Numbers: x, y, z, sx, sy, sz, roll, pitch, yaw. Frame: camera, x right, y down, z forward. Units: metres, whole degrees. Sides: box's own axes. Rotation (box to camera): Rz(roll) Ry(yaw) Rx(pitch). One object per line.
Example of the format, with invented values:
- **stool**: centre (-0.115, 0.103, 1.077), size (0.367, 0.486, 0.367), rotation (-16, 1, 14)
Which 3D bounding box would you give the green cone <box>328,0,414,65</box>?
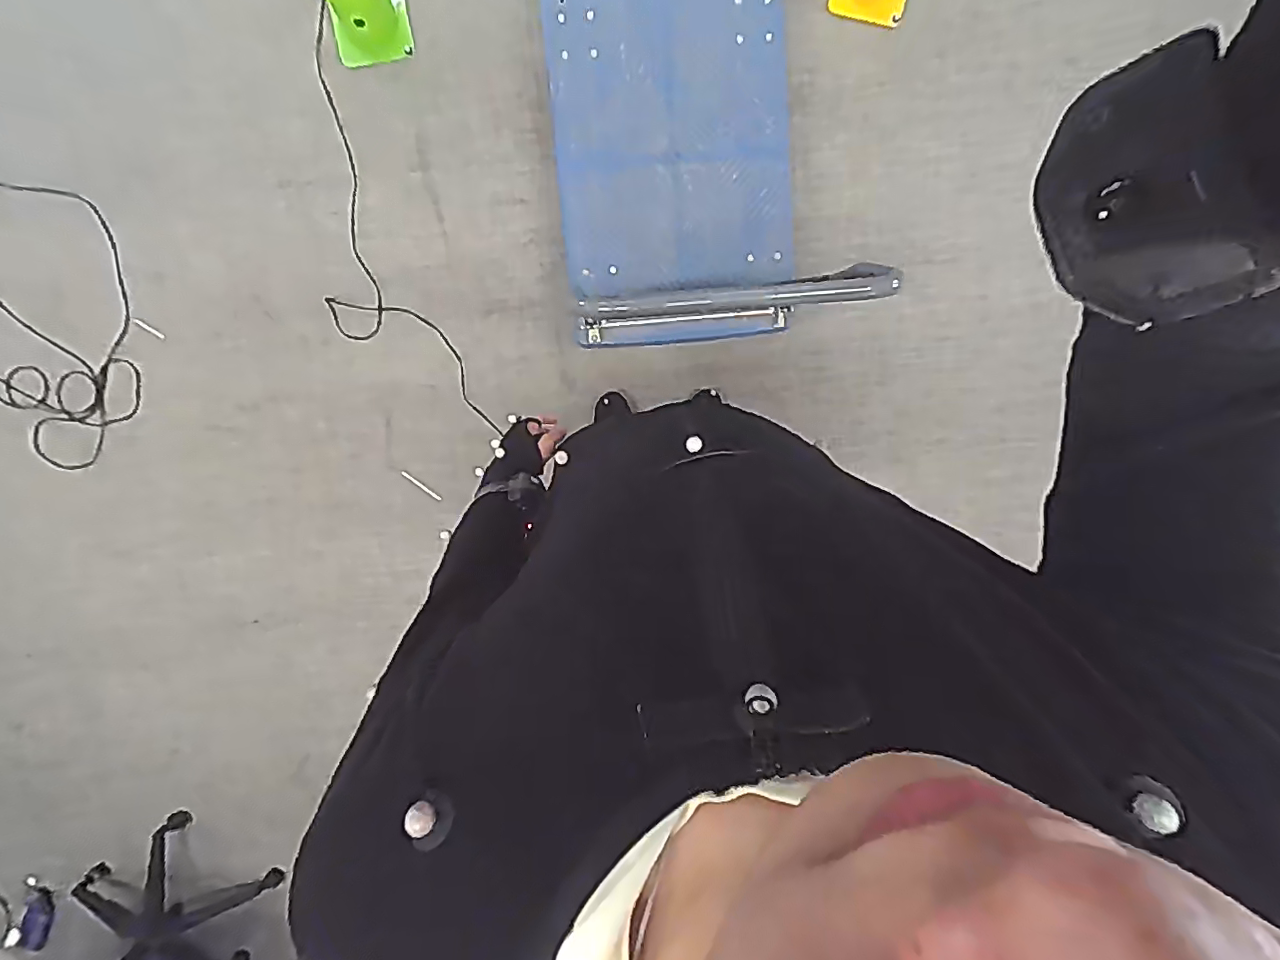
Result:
- **green cone**: centre (-0.713, -1.189, 1.251), size (0.202, 0.368, 0.200), rotation (-9, 99, 3)
